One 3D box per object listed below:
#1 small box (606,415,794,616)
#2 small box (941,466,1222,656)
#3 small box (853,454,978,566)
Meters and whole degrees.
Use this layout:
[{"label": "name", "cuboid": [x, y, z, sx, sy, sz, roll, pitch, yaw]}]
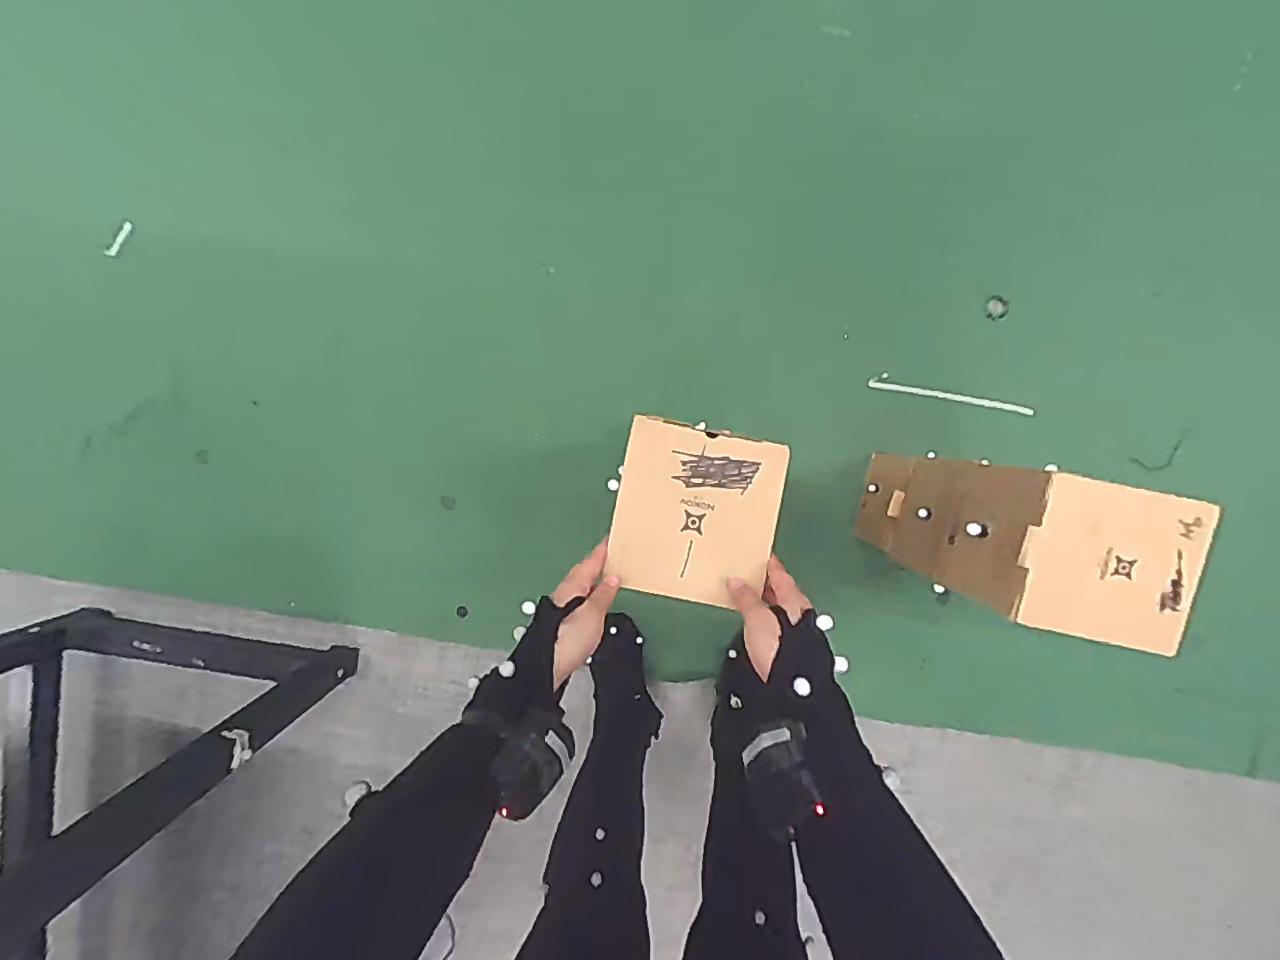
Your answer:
[{"label": "small box", "cuboid": [0.057, 0.039, 0.619, 0.168, 0.176, 0.179, 12, 87, -1]}, {"label": "small box", "cuboid": [0.494, 0.080, 0.637, 0.179, 0.176, 0.168, 12, 95, 1]}, {"label": "small box", "cuboid": [0.513, 0.053, 0.963, 0.179, 0.176, 0.168, 14, 96, 0]}]
